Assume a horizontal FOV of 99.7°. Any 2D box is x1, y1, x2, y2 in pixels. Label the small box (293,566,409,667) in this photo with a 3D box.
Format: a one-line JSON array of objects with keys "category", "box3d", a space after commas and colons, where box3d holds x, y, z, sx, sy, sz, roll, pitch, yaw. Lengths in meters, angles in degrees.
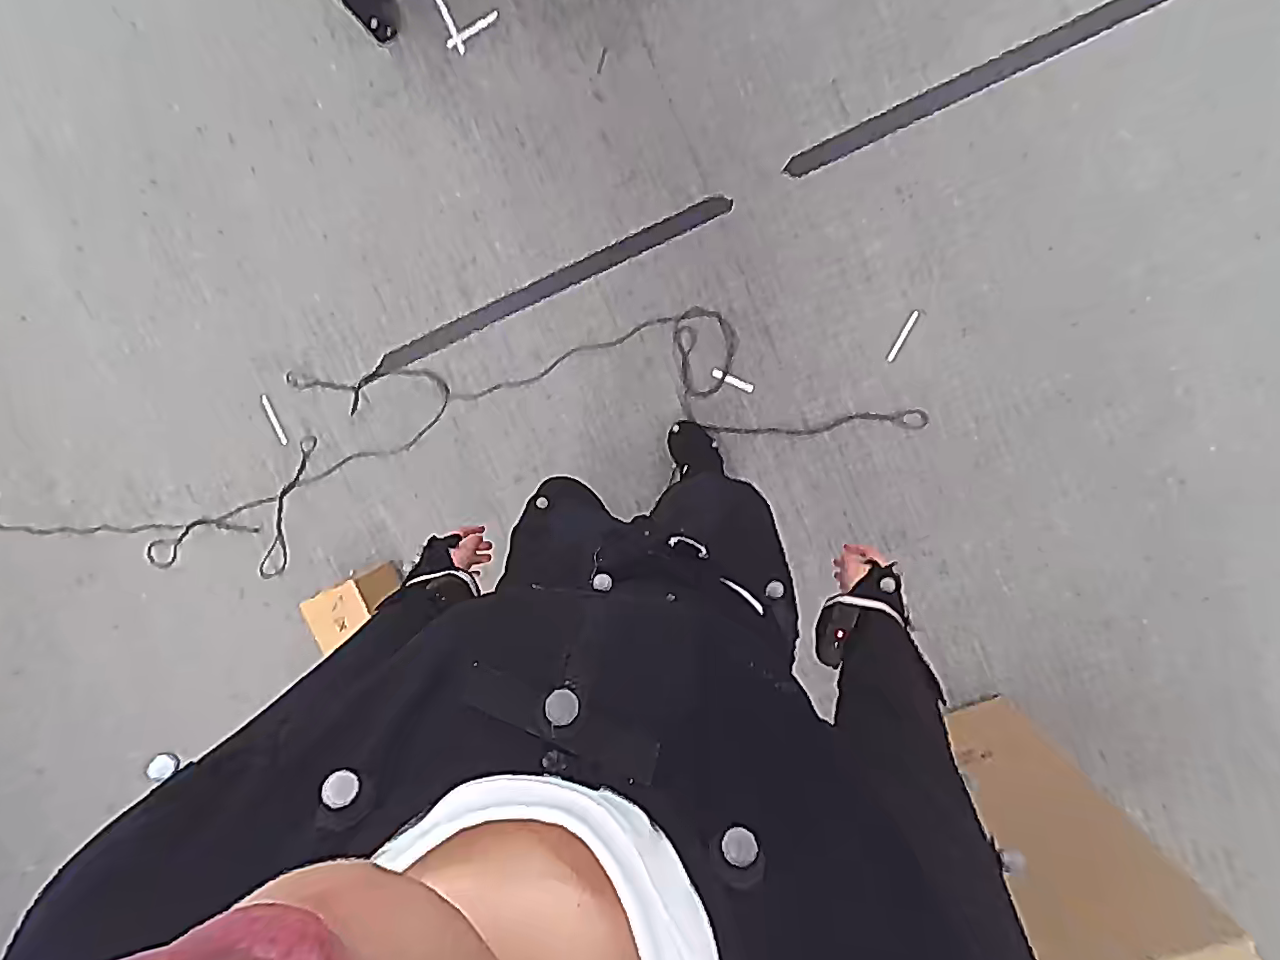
[{"category": "small box", "box3d": [-0.734, 0.346, 1.397, 0.168, 0.176, 0.179, -23, 95, 8]}]
